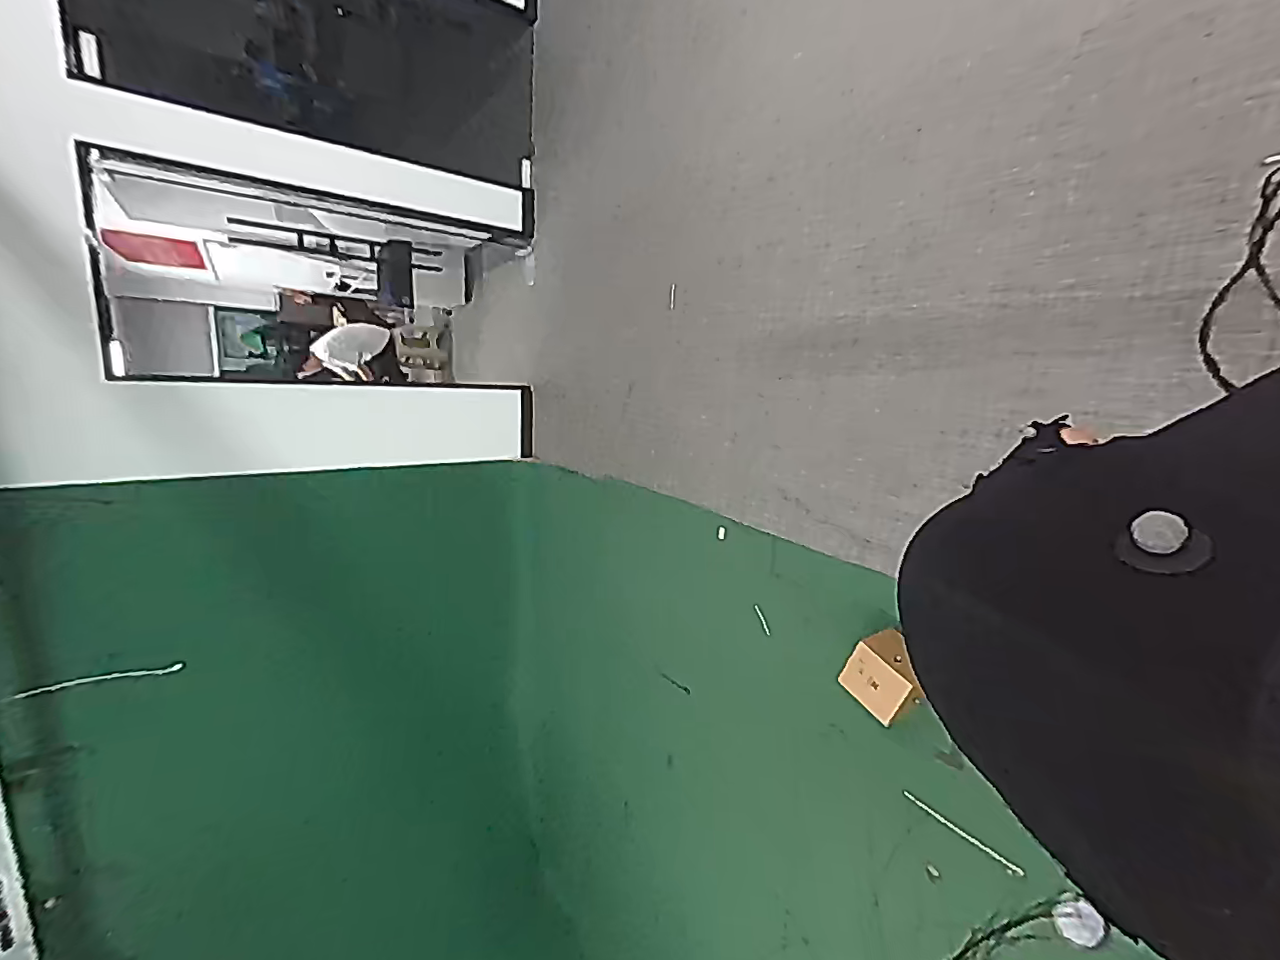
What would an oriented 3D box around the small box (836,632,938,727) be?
[{"bbox_3d":[0.709,0.562,1.548,0.179,0.176,0.168,44,127,44],"label":"small box"}]
